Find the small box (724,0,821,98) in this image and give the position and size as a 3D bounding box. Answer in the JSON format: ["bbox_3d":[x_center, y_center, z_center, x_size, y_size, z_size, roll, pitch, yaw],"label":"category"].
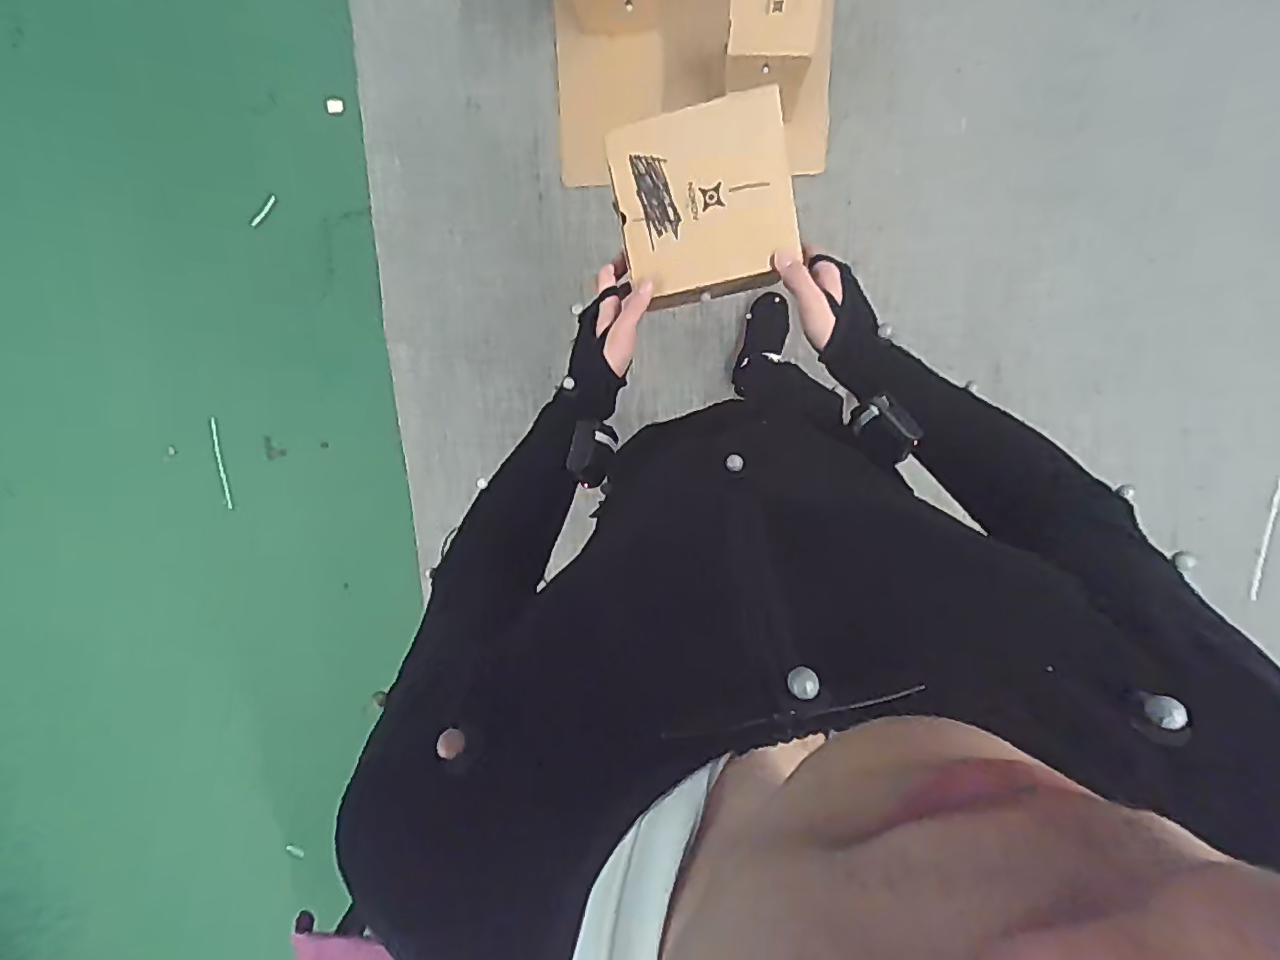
[{"bbox_3d":[0.271,-0.931,1.134,0.179,0.176,0.168,6,105,5],"label":"small box"}]

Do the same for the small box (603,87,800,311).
[{"bbox_3d":[0.069,-0.297,0.615,0.179,0.176,0.168,-11,102,7],"label":"small box"}]

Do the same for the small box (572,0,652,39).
[{"bbox_3d":[-0.062,-1.183,1.277,0.179,0.176,0.168,2,103,6],"label":"small box"}]

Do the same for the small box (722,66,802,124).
[{"bbox_3d":[0.291,-0.966,1.293,0.179,0.176,0.168,3,104,6],"label":"small box"}]
